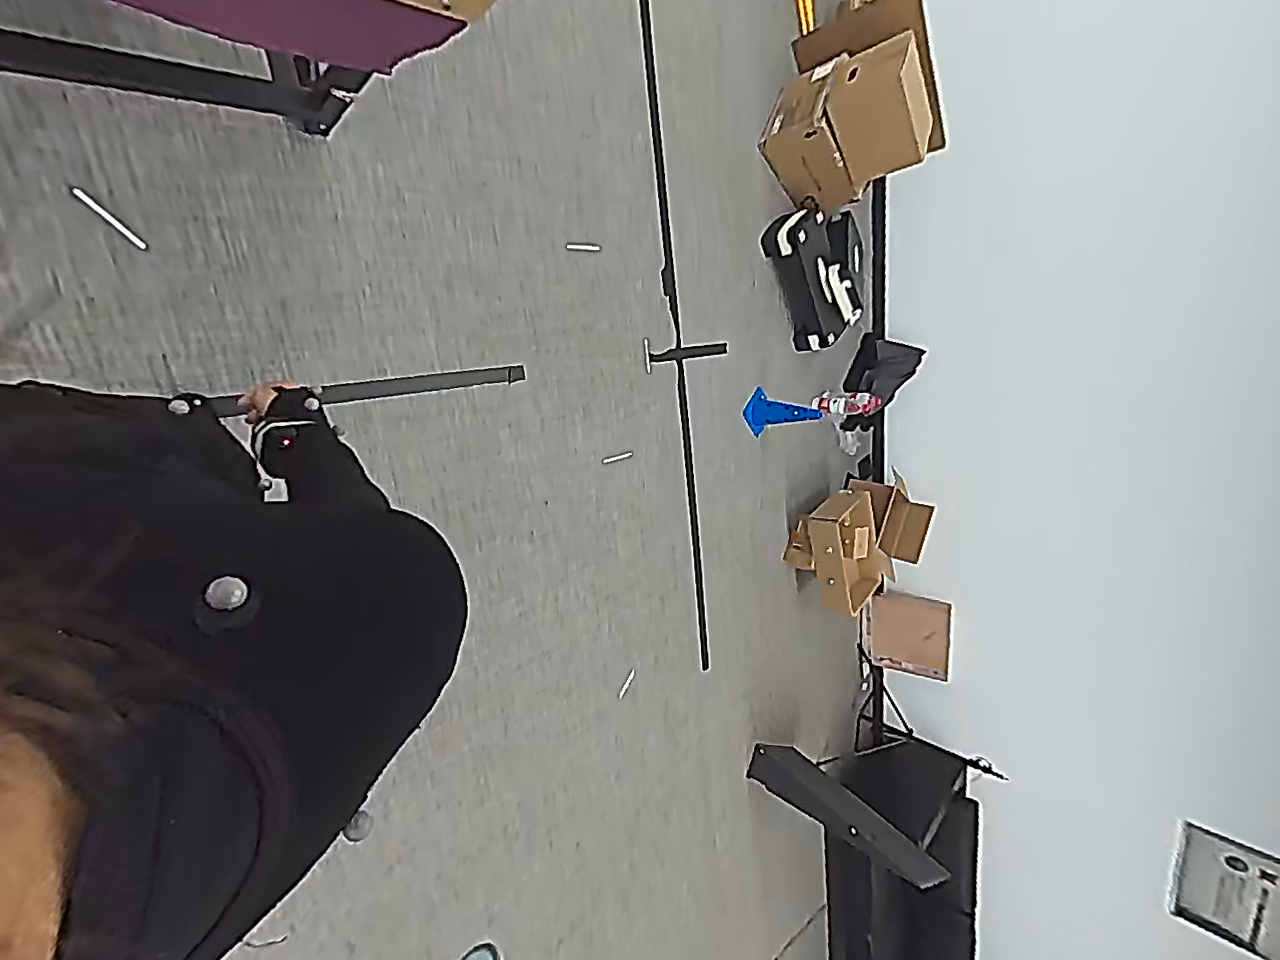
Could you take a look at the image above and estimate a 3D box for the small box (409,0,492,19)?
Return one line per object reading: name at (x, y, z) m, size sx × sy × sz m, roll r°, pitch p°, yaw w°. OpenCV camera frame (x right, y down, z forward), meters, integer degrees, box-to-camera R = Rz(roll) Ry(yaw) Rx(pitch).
small box at (-0.287, -0.817, 0.768) m, size 0.168 × 0.176 × 0.179 m, roll -19°, pitch 109°, yaw -39°
